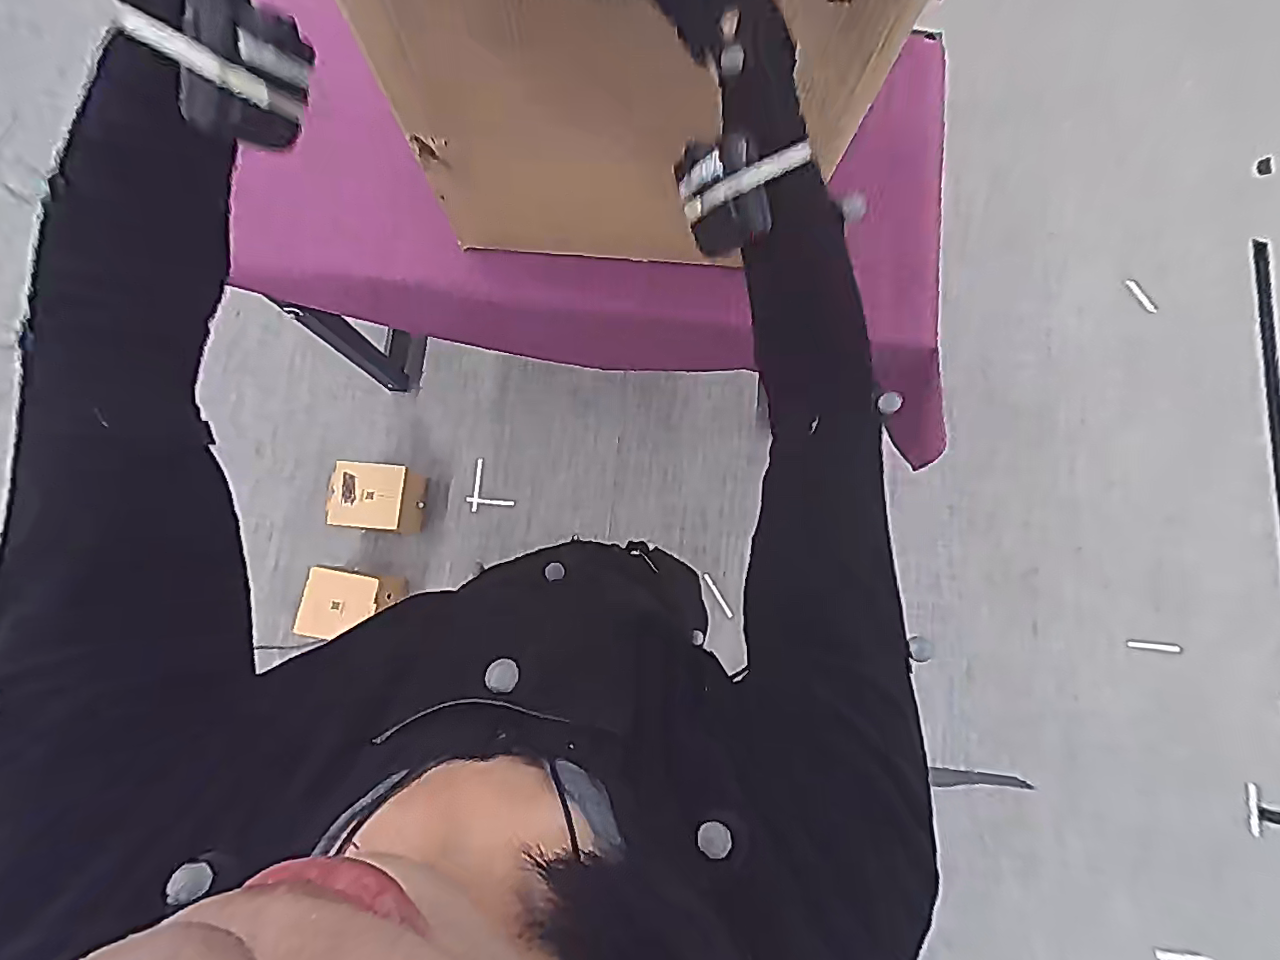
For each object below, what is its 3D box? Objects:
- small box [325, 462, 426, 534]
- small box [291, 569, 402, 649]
[{"bbox_3d":[-0.691,0.054,1.432,0.179,0.176,0.168,5,81,-2],"label":"small box"},{"bbox_3d":[-0.742,0.325,1.389,0.179,0.176,0.168,11,80,0],"label":"small box"}]
